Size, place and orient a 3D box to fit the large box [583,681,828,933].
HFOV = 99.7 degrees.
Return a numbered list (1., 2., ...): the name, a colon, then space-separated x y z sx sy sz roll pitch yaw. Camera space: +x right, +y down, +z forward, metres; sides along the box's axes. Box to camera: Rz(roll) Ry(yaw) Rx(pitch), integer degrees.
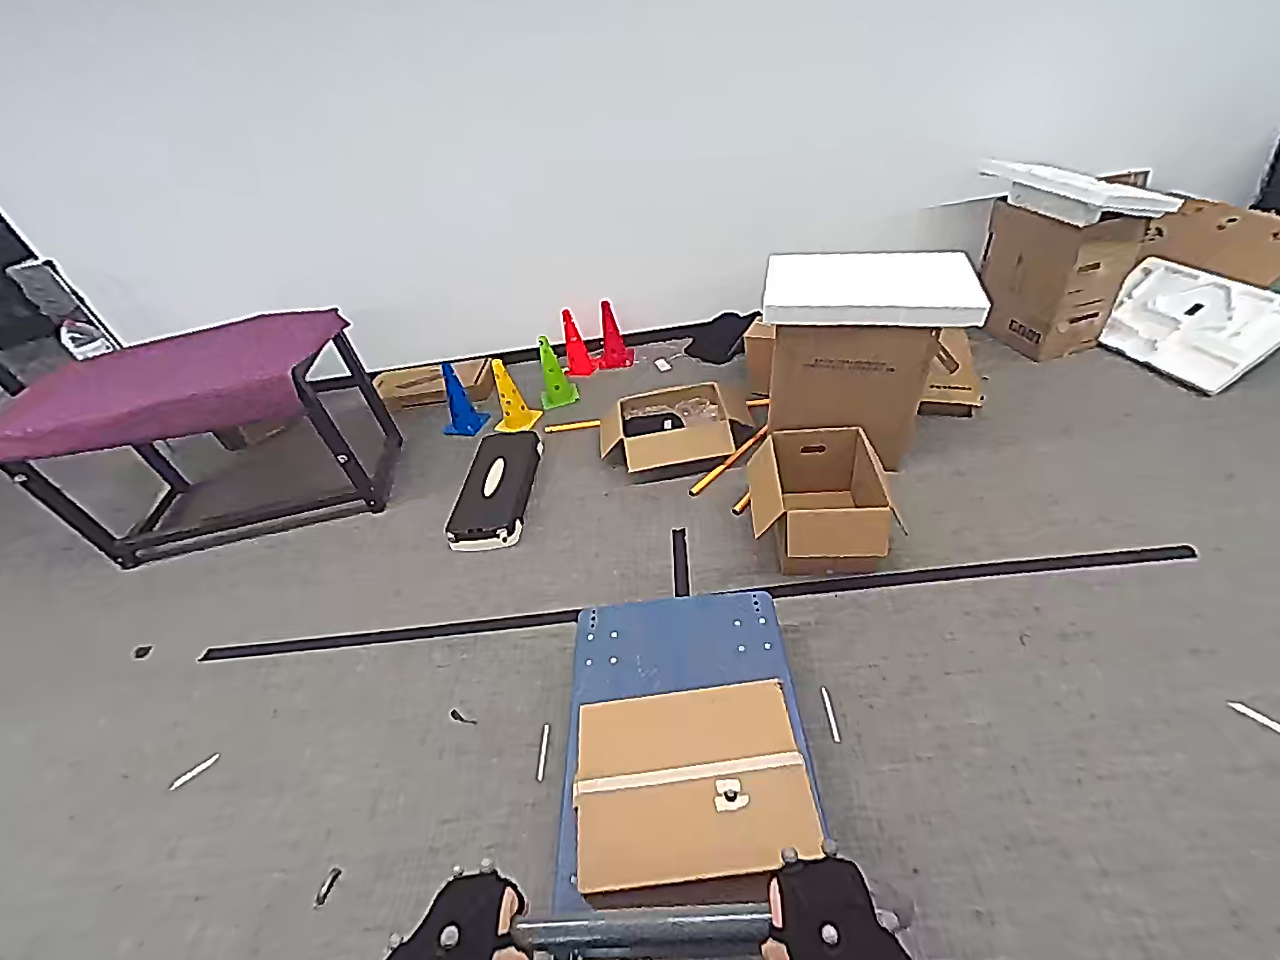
1. large box: 0.110 0.646 1.071 0.408 0.320 0.320 -8 41 1
